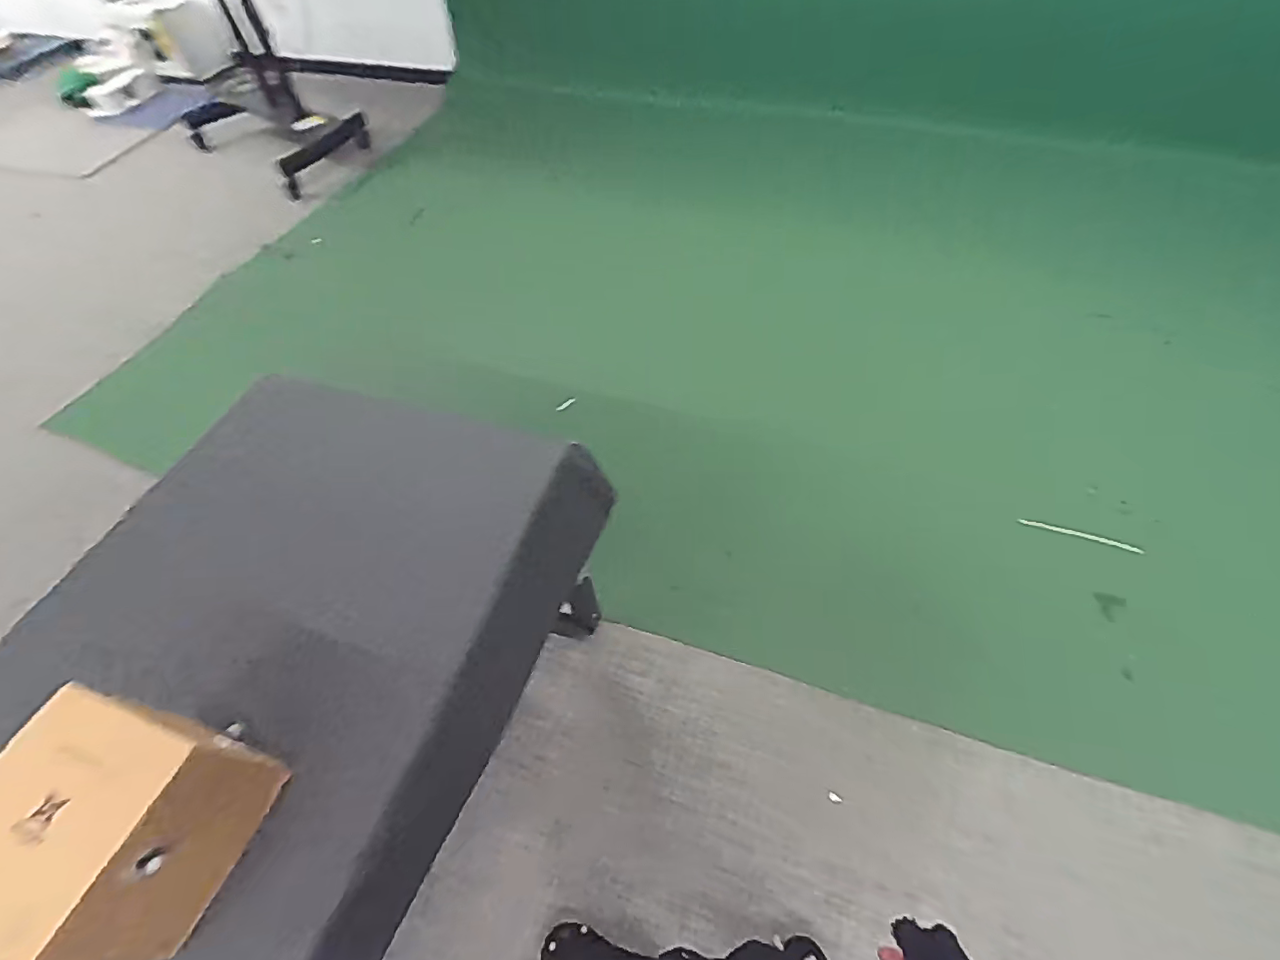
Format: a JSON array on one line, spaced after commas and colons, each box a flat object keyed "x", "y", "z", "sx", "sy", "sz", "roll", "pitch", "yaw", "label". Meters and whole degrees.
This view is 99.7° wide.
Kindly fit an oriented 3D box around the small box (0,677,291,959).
[{"x": -0.503, "y": 0.328, "z": 0.538, "sx": 0.168, "sy": 0.176, "sz": 0.179, "roll": 15, "pitch": 56, "yaw": 12, "label": "small box"}]
